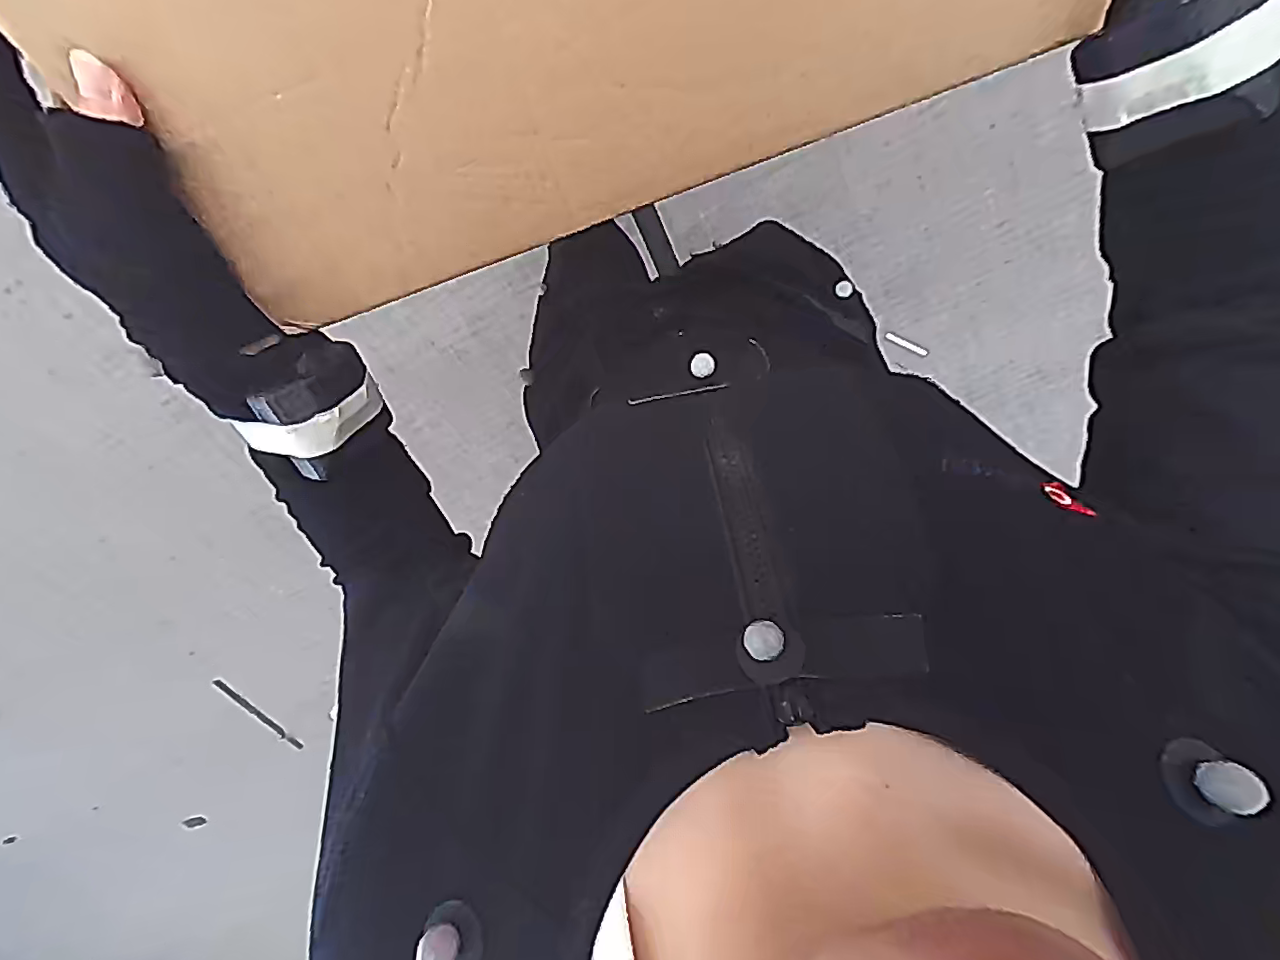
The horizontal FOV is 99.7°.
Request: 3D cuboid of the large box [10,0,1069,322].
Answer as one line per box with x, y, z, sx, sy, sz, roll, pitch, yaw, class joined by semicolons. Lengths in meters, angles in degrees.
-0.060;-0.347;0.259;0.408;0.320;0.320;-17;136;8;large box
